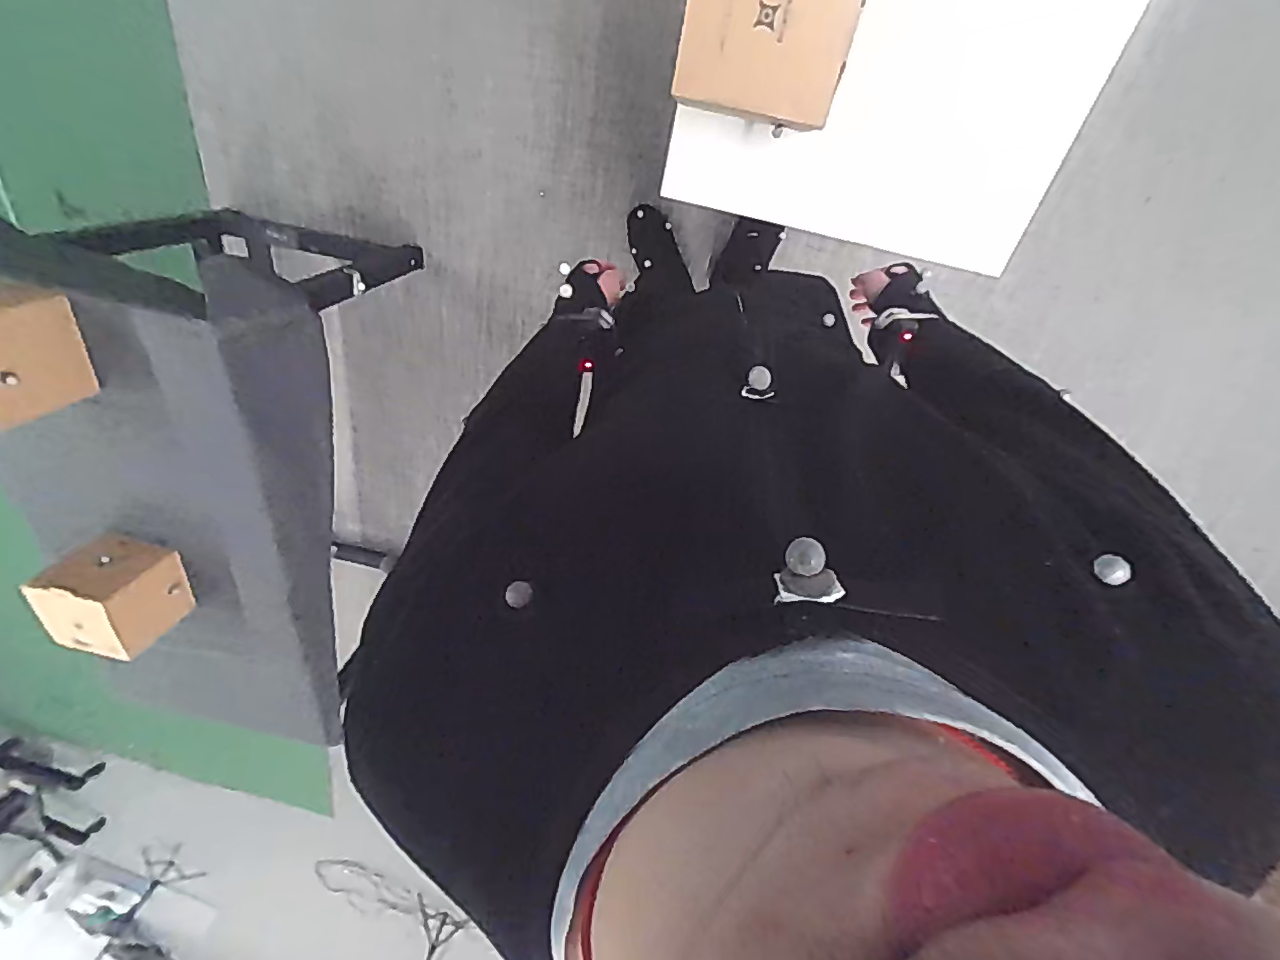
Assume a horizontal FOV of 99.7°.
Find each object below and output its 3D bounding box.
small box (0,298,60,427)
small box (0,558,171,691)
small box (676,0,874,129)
[{"bbox_3d":[-1.023,-0.171,0.786,0.168,0.176,0.179,14,122,-2],"label":"small box"},{"bbox_3d":[-1.093,0.280,1.073,0.168,0.176,0.179,13,121,-1],"label":"small box"},{"bbox_3d":[0.144,-0.503,0.602,0.179,0.176,0.168,11,120,0],"label":"small box"}]
